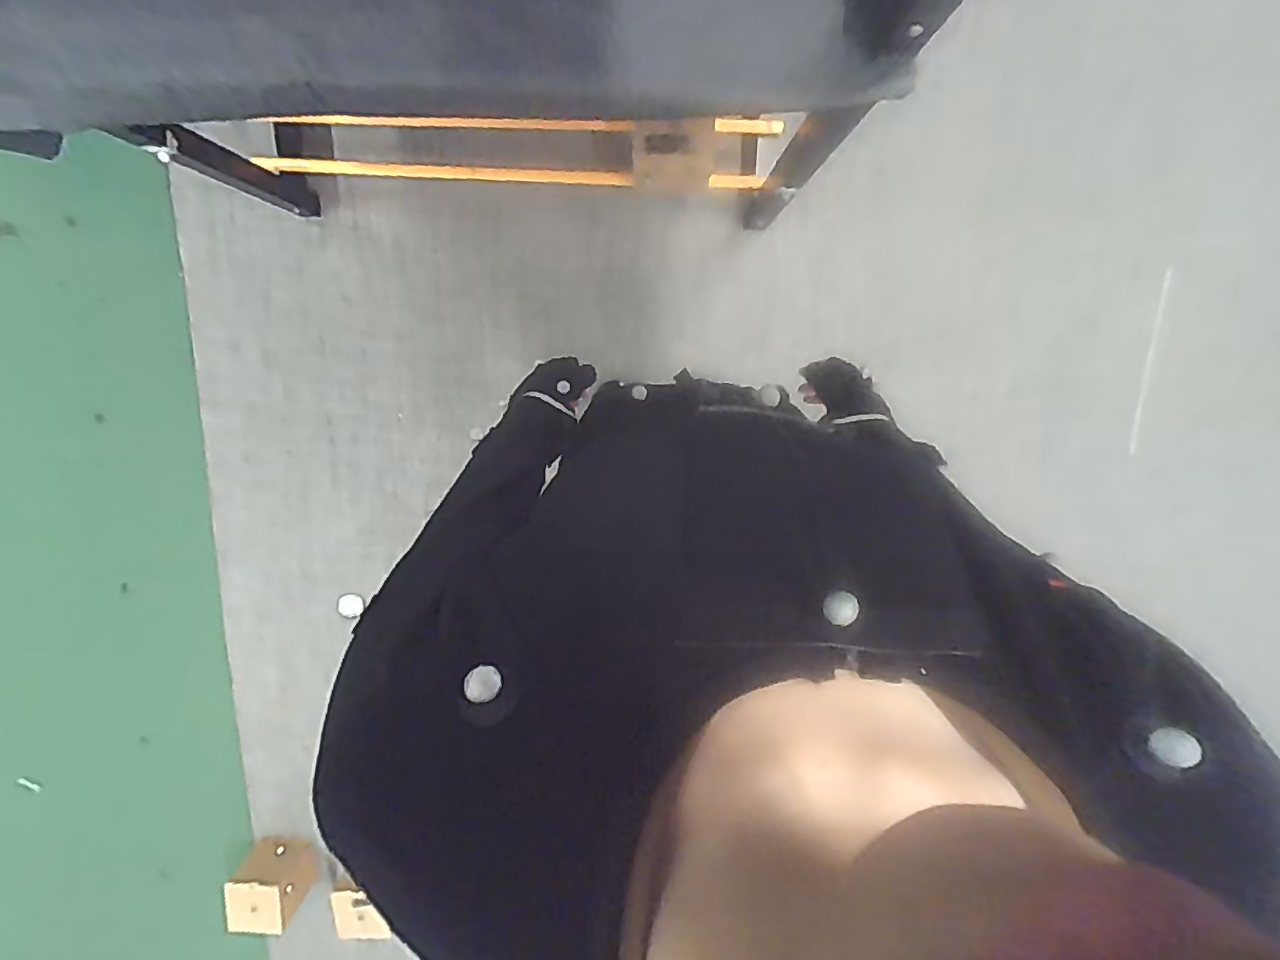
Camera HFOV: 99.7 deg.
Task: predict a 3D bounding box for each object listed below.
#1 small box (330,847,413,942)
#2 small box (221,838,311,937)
[{"bbox_3d":[-0.823,1.272,1.670,0.168,0.176,0.179,-1,102,1],"label":"small box"},{"bbox_3d":[-1.146,1.257,1.672,0.168,0.176,0.179,4,101,-1],"label":"small box"}]
